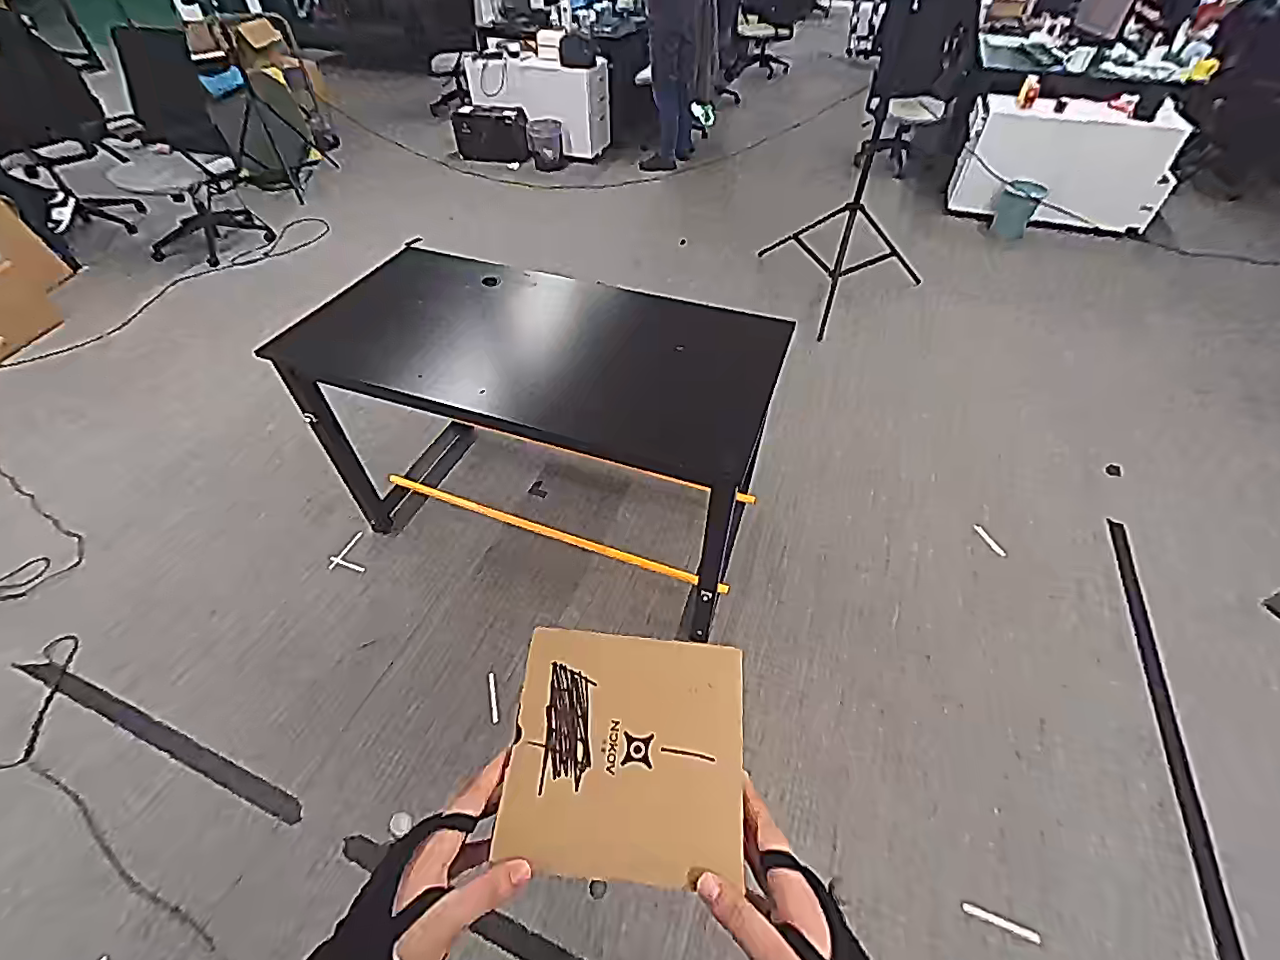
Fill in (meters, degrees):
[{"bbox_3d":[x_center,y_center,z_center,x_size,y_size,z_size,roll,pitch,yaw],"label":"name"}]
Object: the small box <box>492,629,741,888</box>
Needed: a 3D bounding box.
[{"bbox_3d":[-0.009,0.245,0.480,0.179,0.176,0.168,5,58,3],"label":"small box"}]
